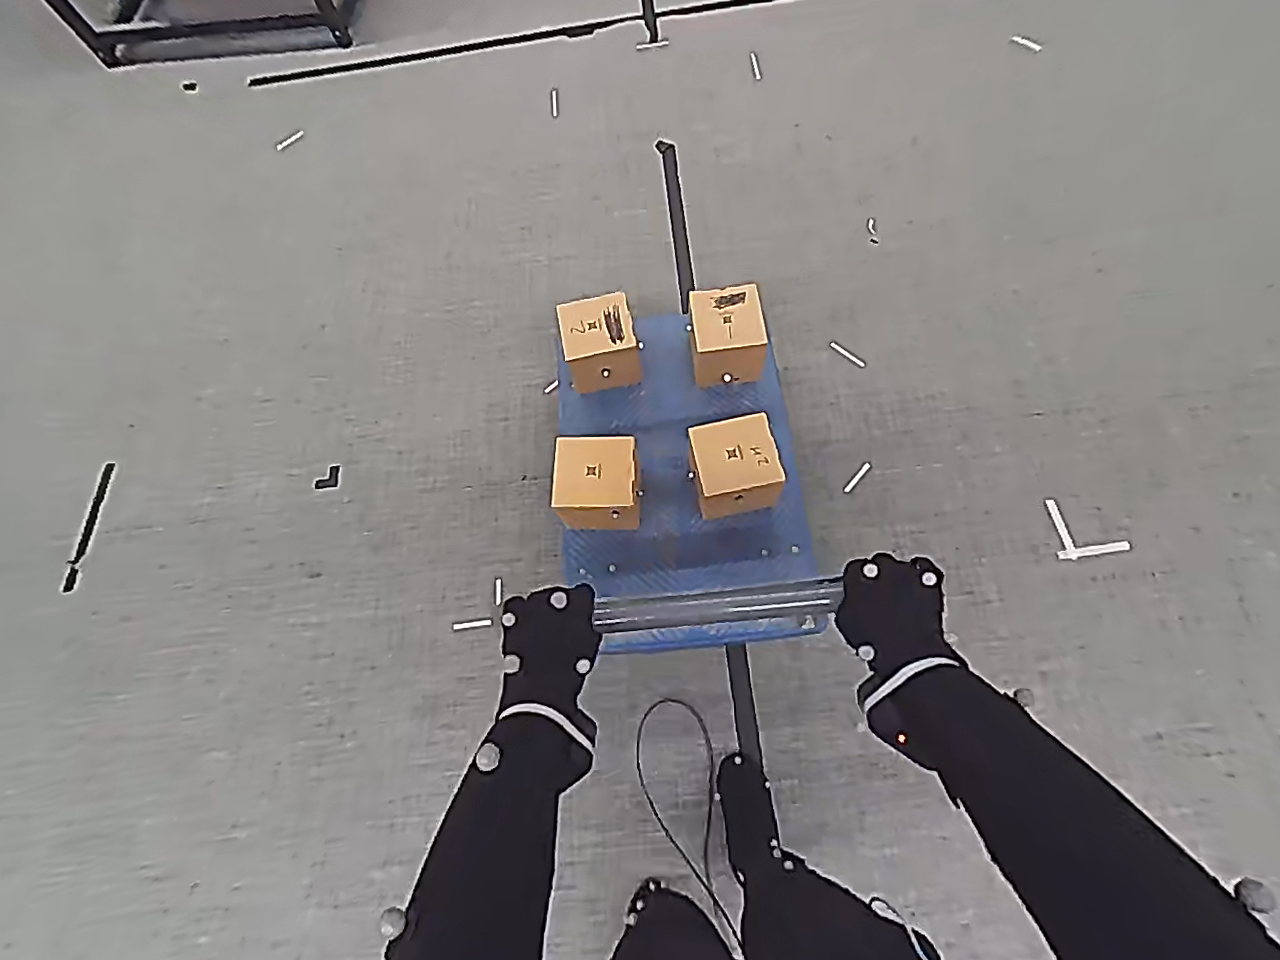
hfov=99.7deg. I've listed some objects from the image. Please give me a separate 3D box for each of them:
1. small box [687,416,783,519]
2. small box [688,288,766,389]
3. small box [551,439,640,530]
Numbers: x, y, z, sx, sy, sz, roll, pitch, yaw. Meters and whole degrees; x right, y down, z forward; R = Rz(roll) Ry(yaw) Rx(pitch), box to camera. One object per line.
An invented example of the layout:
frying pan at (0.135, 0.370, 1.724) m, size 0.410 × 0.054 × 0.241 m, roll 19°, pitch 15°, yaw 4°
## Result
small box at (0.210, -0.022, 1.229) m, size 0.179 × 0.176 × 0.168 m, roll -12°, pitch 69°, yaw 1°
small box at (0.211, -0.350, 1.356) m, size 0.168 × 0.176 × 0.179 m, roll -7°, pitch 69°, yaw 3°
small box at (-0.095, 0.016, 1.243) m, size 0.179 × 0.176 × 0.168 m, roll -1°, pitch 68°, yaw 3°
